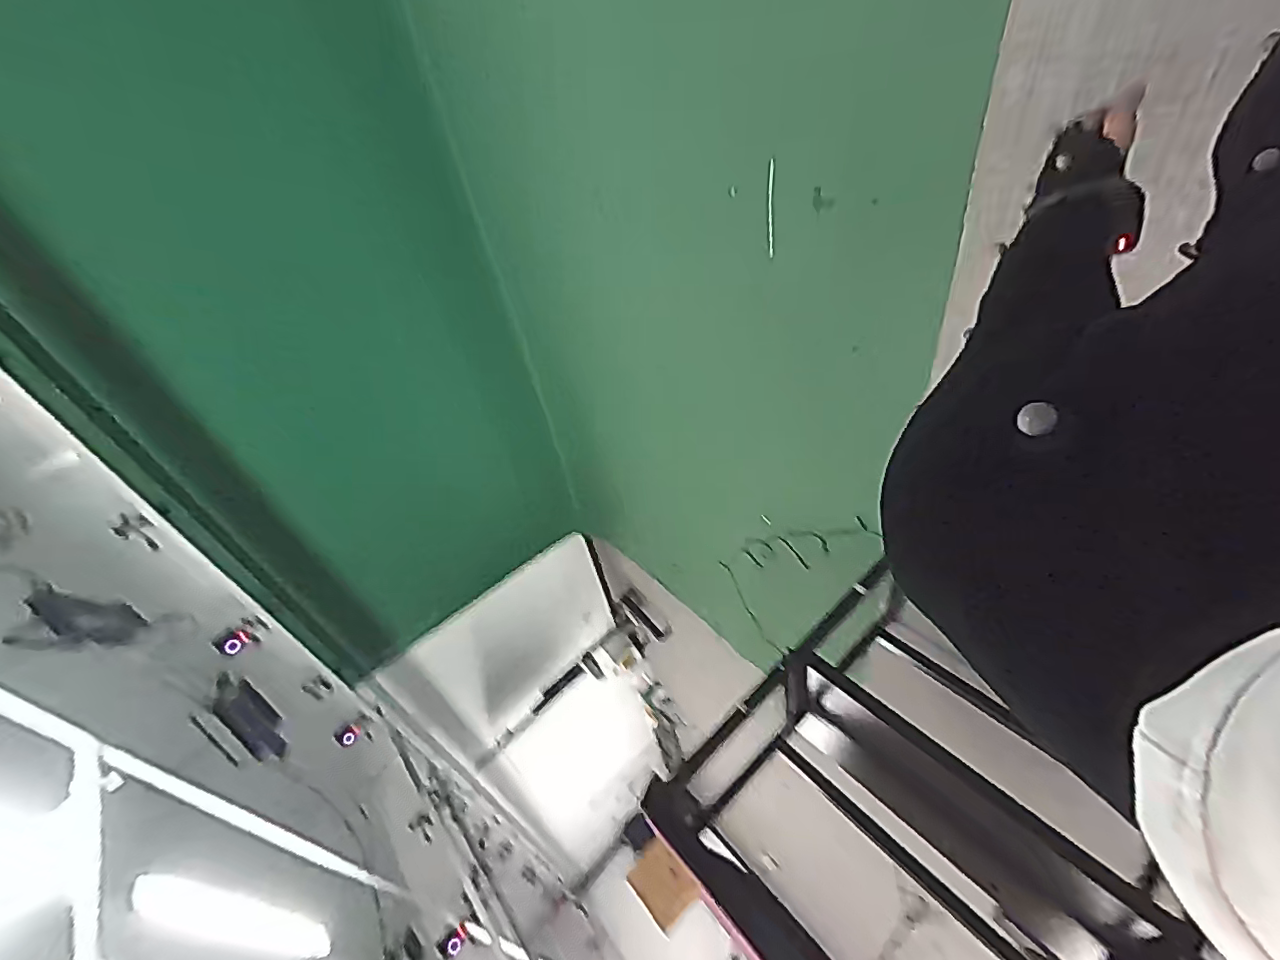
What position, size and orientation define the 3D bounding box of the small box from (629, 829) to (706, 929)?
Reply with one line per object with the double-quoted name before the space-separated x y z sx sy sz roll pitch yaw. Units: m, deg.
"small box" 0.092 1.240 1.687 0.168 0.176 0.179 34 148 39
